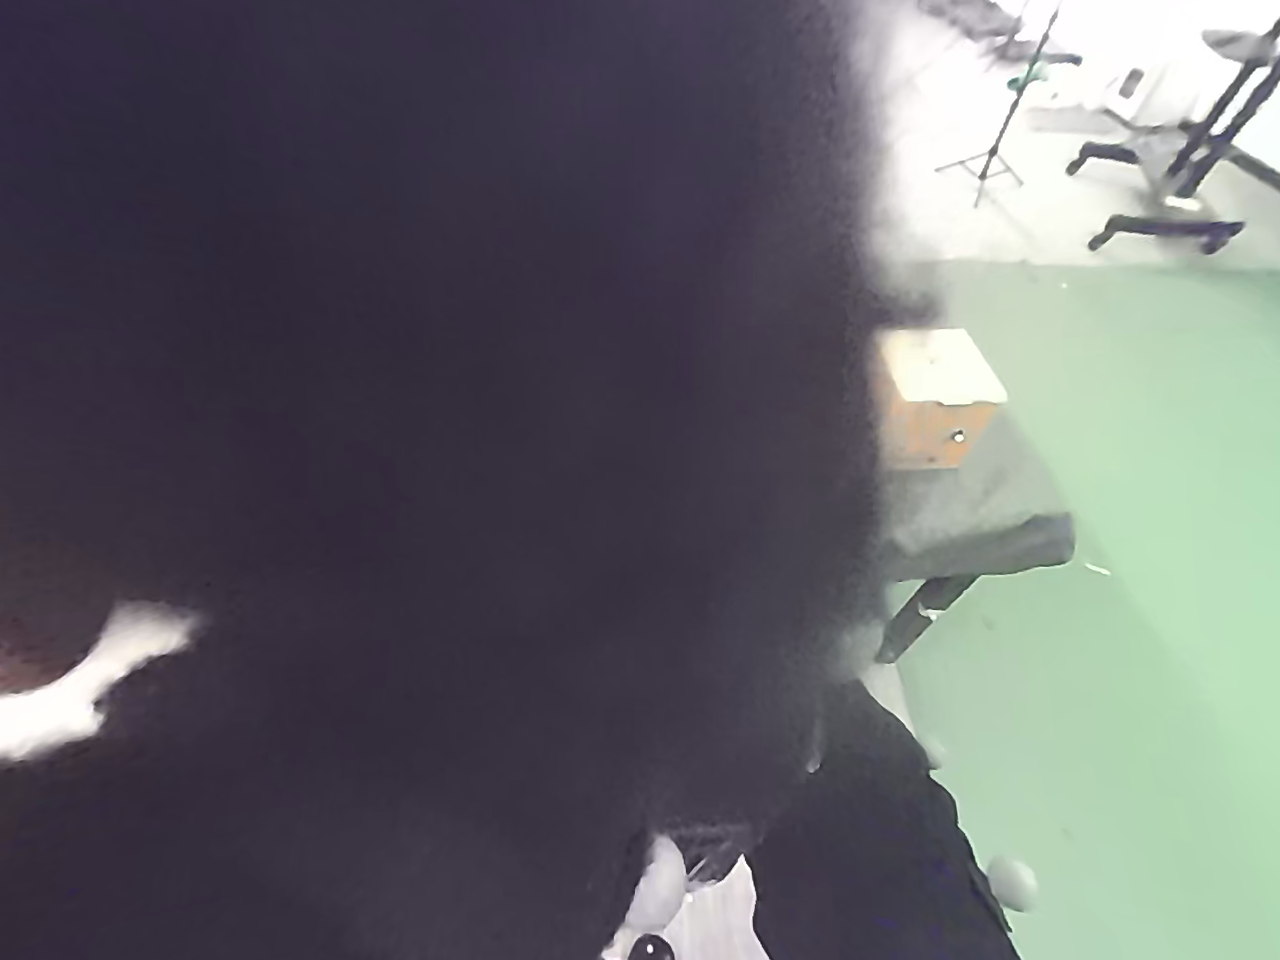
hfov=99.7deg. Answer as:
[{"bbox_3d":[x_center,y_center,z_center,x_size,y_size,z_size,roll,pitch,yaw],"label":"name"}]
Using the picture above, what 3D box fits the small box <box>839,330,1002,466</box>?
[{"bbox_3d":[0.466,-0.137,0.931,0.168,0.176,0.179,-1,50,-2],"label":"small box"}]
